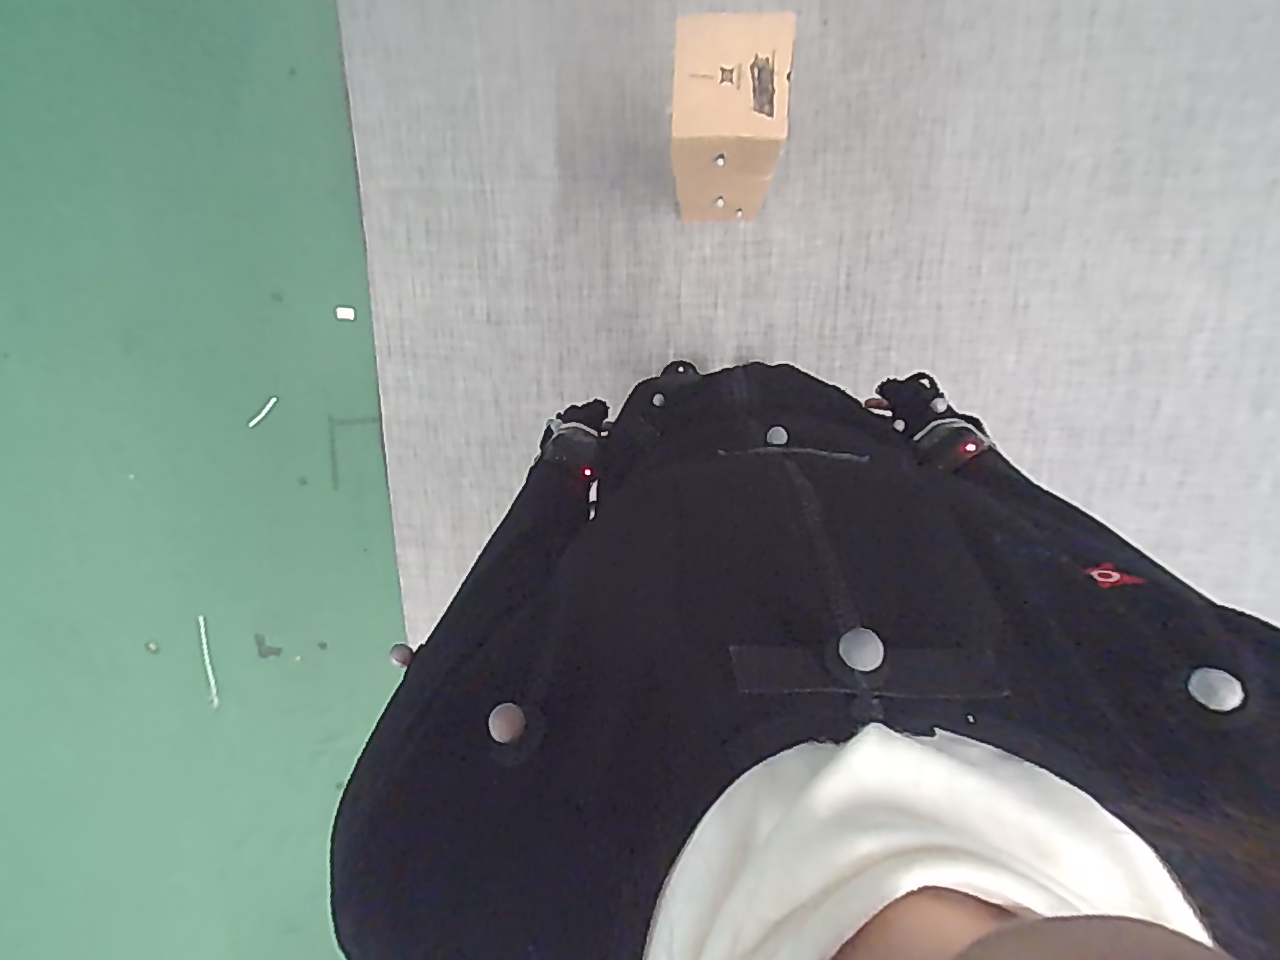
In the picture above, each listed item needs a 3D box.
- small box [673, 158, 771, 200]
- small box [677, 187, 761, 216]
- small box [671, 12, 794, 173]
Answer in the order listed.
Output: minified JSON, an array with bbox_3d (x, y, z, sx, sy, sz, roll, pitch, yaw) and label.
[{"bbox_3d":[0.158,-0.652,1.040,0.179,0.176,0.168,5,103,3],"label":"small box"},{"bbox_3d":[0.174,-0.695,1.198,0.179,0.176,0.168,2,102,6],"label":"small box"},{"bbox_3d":[0.141,-0.617,0.880,0.179,0.176,0.168,1,103,4],"label":"small box"}]
